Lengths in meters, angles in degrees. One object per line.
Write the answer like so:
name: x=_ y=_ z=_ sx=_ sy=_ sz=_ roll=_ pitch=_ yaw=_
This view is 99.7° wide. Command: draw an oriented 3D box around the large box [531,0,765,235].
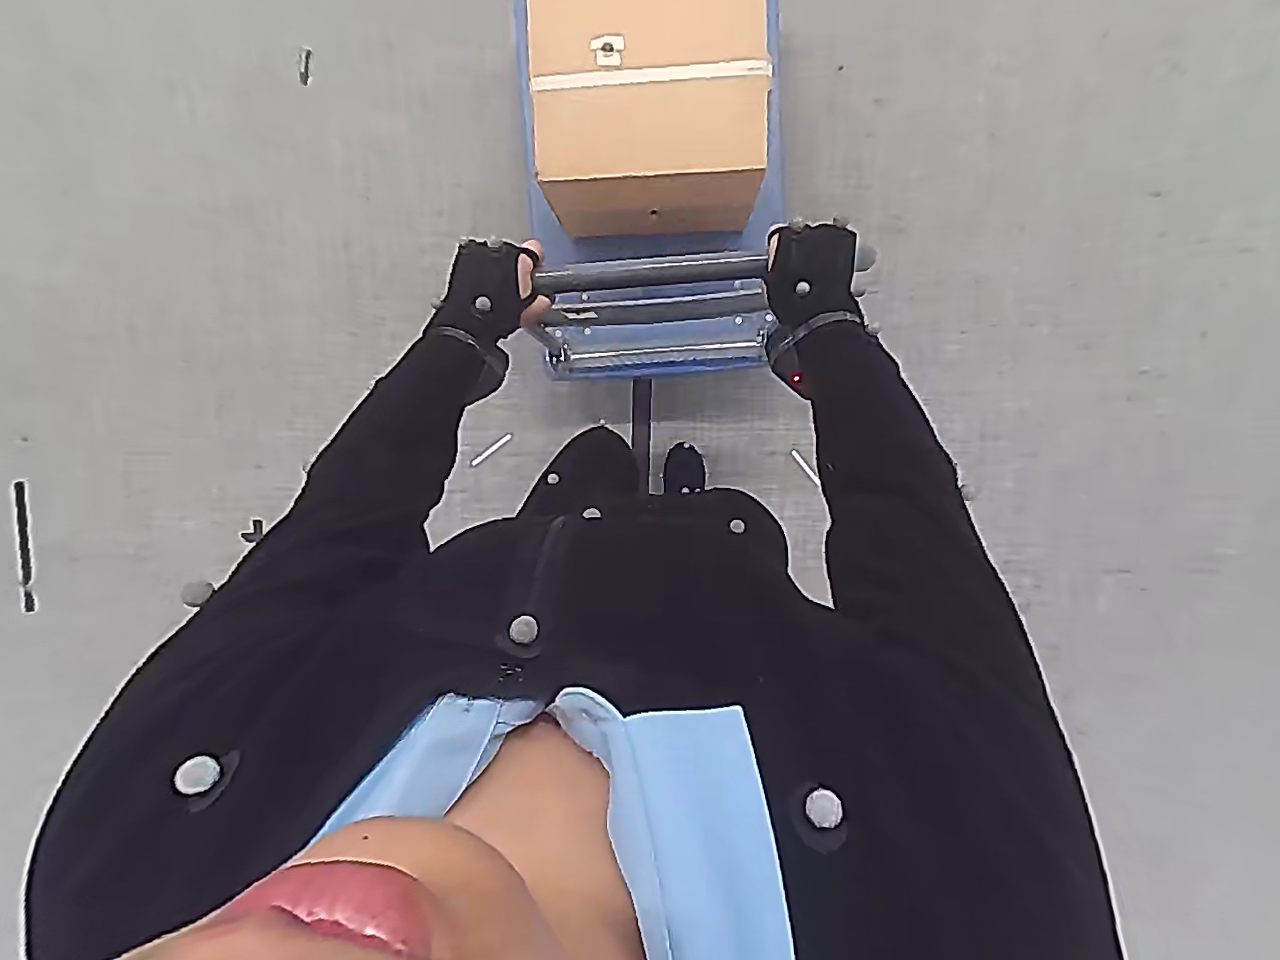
large box: x=0.026 y=-0.708 z=1.082 sx=0.408 sy=0.320 sz=0.320 roll=-1 pitch=96 yaw=4
